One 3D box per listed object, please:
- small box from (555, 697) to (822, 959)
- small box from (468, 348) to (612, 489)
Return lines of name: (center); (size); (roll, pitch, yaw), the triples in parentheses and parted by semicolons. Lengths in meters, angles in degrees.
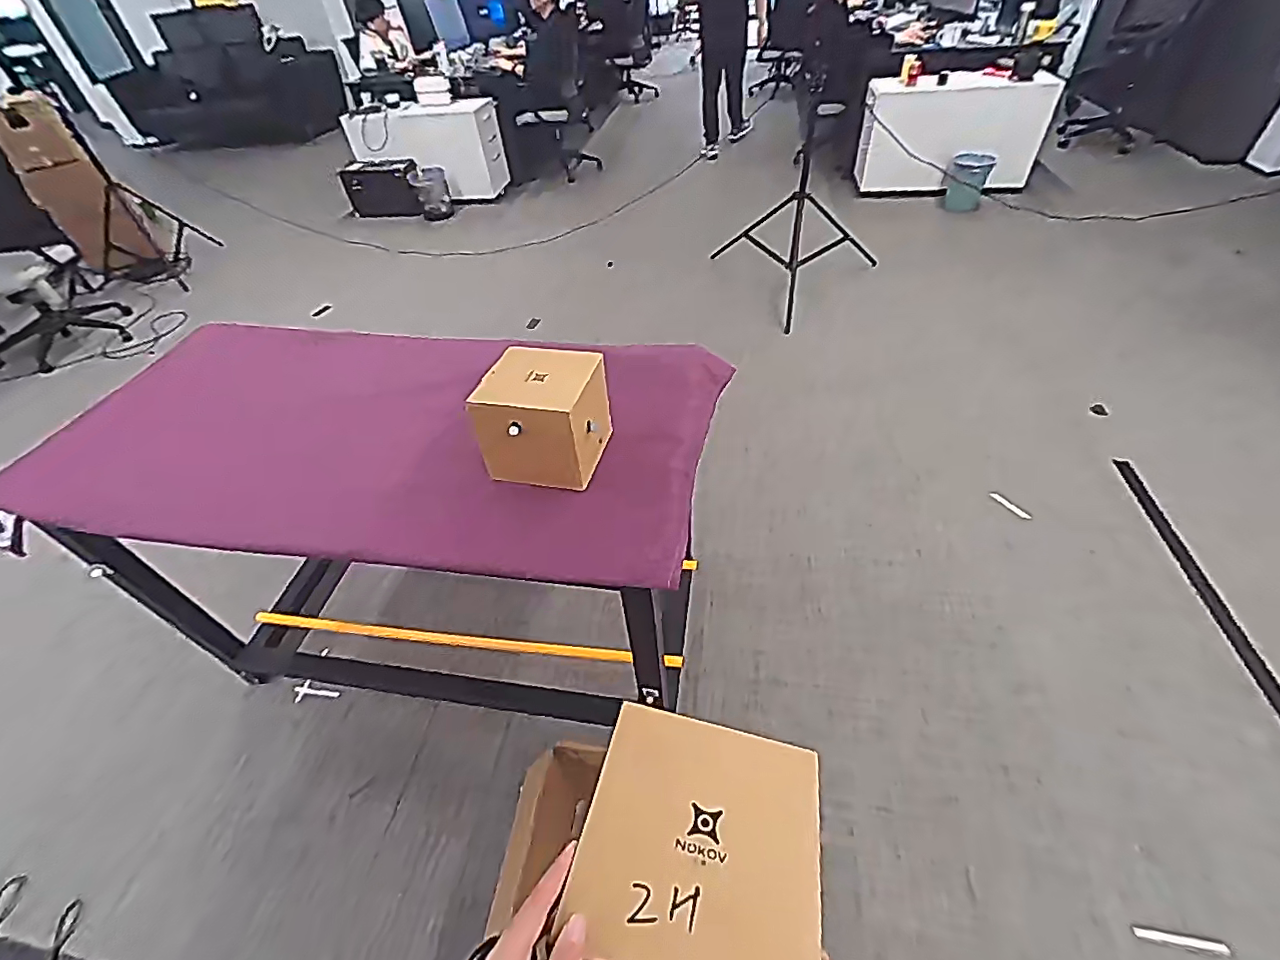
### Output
small box: (0.040, 0.314, 0.429); (0.168, 0.176, 0.179); (11, 35, 10)
small box: (-0.156, -0.103, 0.920); (0.179, 0.176, 0.168); (7, 45, 14)
